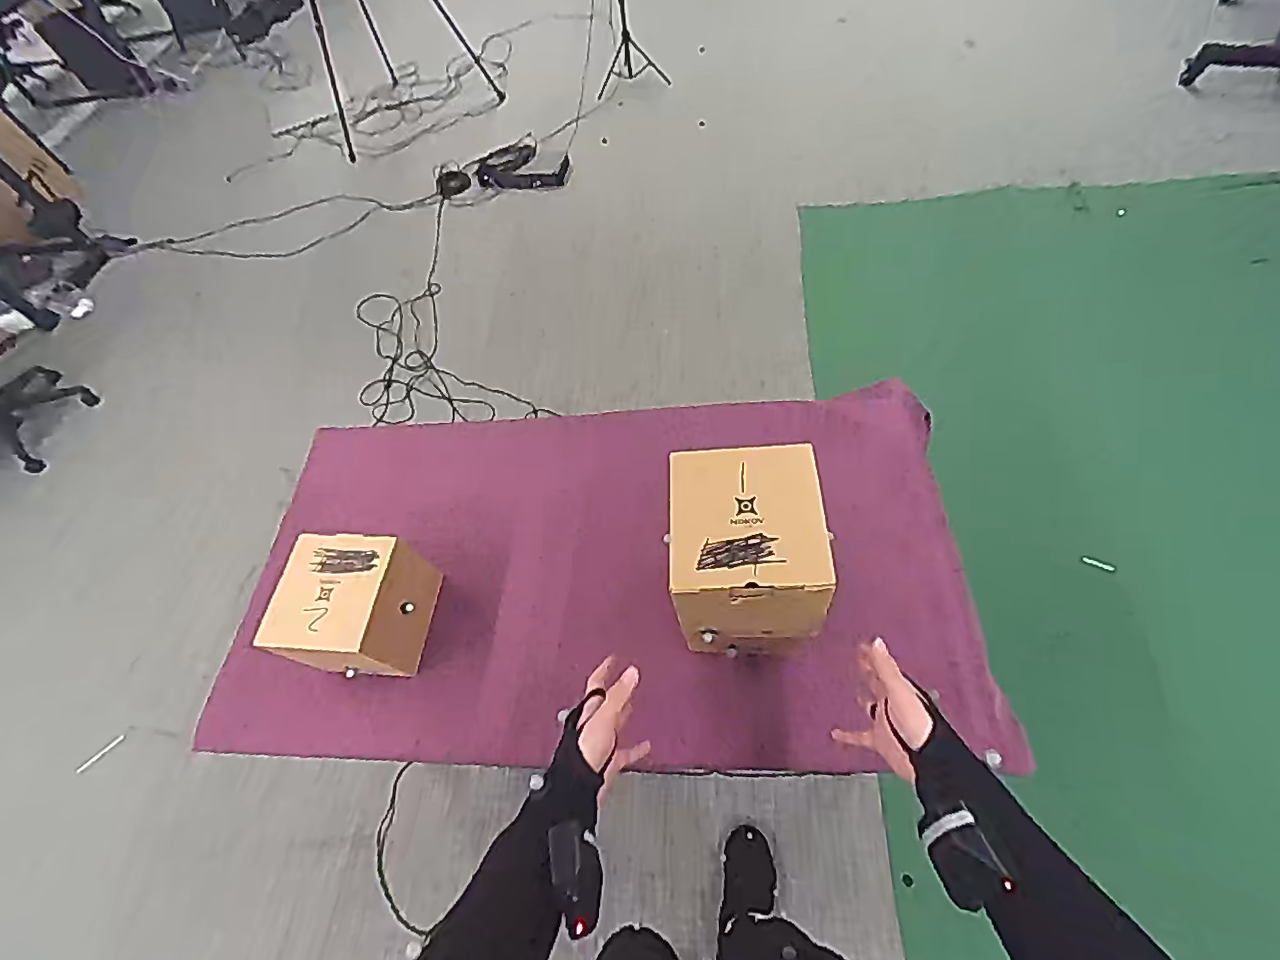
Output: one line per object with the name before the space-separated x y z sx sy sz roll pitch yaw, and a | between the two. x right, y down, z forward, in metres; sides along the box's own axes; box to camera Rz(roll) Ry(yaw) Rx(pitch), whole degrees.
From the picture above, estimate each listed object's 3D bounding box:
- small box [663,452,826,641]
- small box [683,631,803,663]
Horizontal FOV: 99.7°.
small box | 0.121 0.088 0.651 0.168 0.176 0.179 -3 56 9
small box | 0.147 0.157 0.798 0.168 0.176 0.179 -1 58 10
